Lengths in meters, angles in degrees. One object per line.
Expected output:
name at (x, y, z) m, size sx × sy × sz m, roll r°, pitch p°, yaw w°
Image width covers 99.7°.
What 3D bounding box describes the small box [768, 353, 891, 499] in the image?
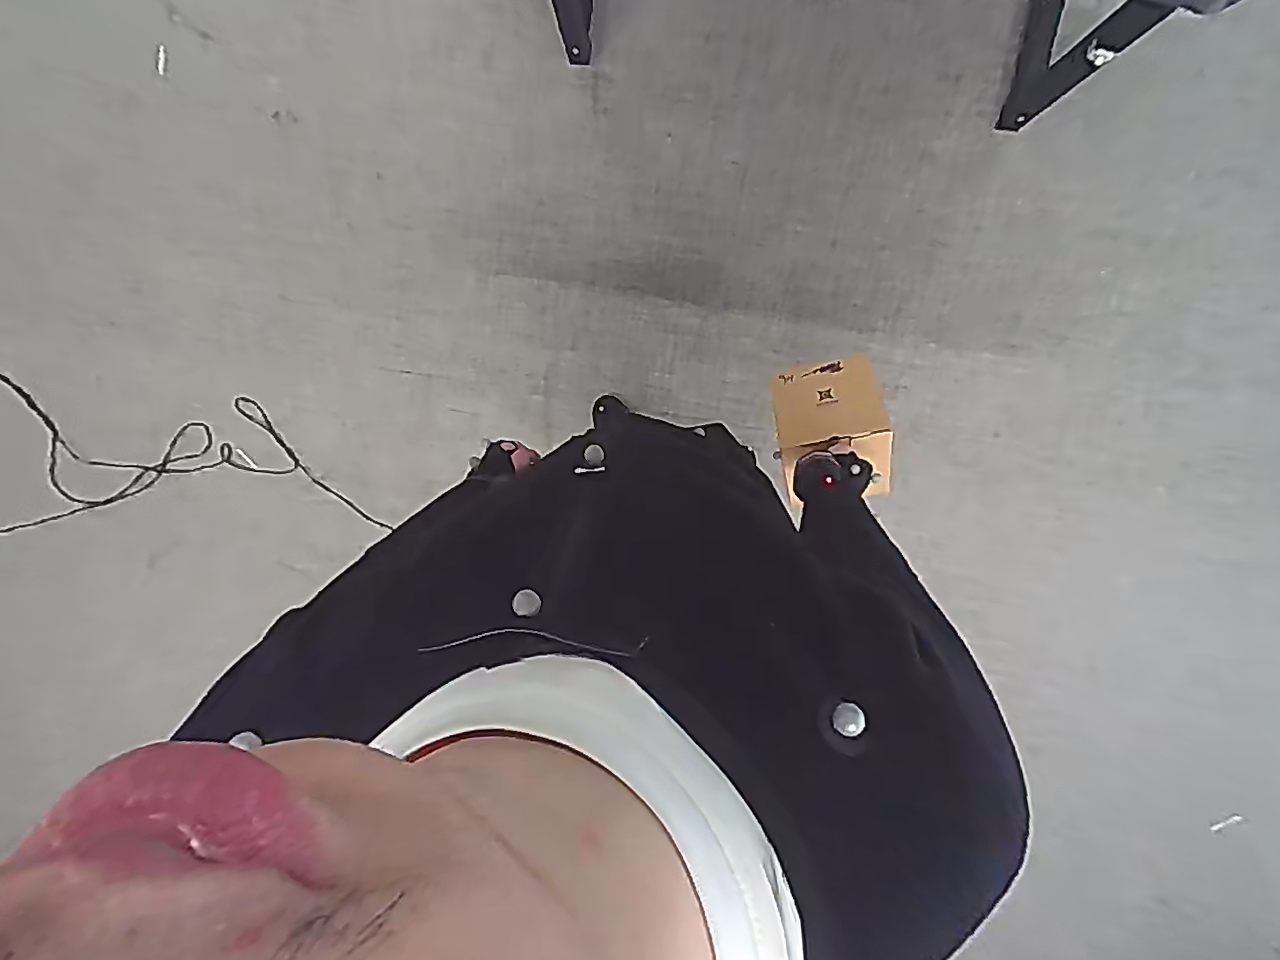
small box at (0.327, -0.082, 0.933) m, size 0.168 × 0.179 × 0.176 m, roll -12°, pitch 142°, yaw 16°
